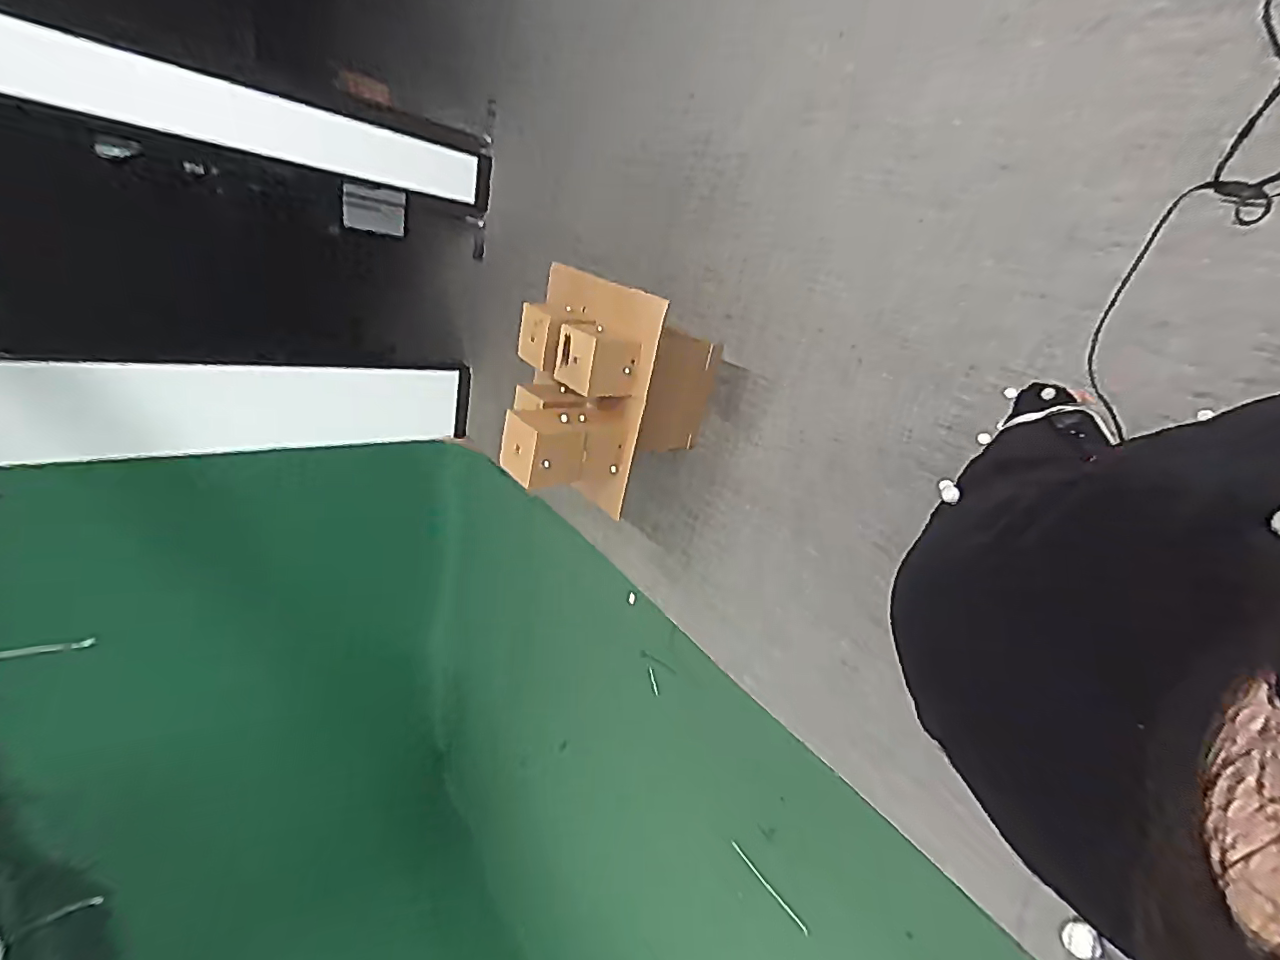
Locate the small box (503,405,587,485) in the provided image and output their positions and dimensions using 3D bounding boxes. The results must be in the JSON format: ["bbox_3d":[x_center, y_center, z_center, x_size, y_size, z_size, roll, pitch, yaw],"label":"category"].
[{"bbox_3d":[-0.272,-0.106,1.558,0.168,0.176,0.179,37,122,38],"label":"small box"}]

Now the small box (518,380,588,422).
[{"bbox_3d":[-0.300,-0.229,1.818,0.179,0.176,0.168,35,123,42],"label":"small box"}]
